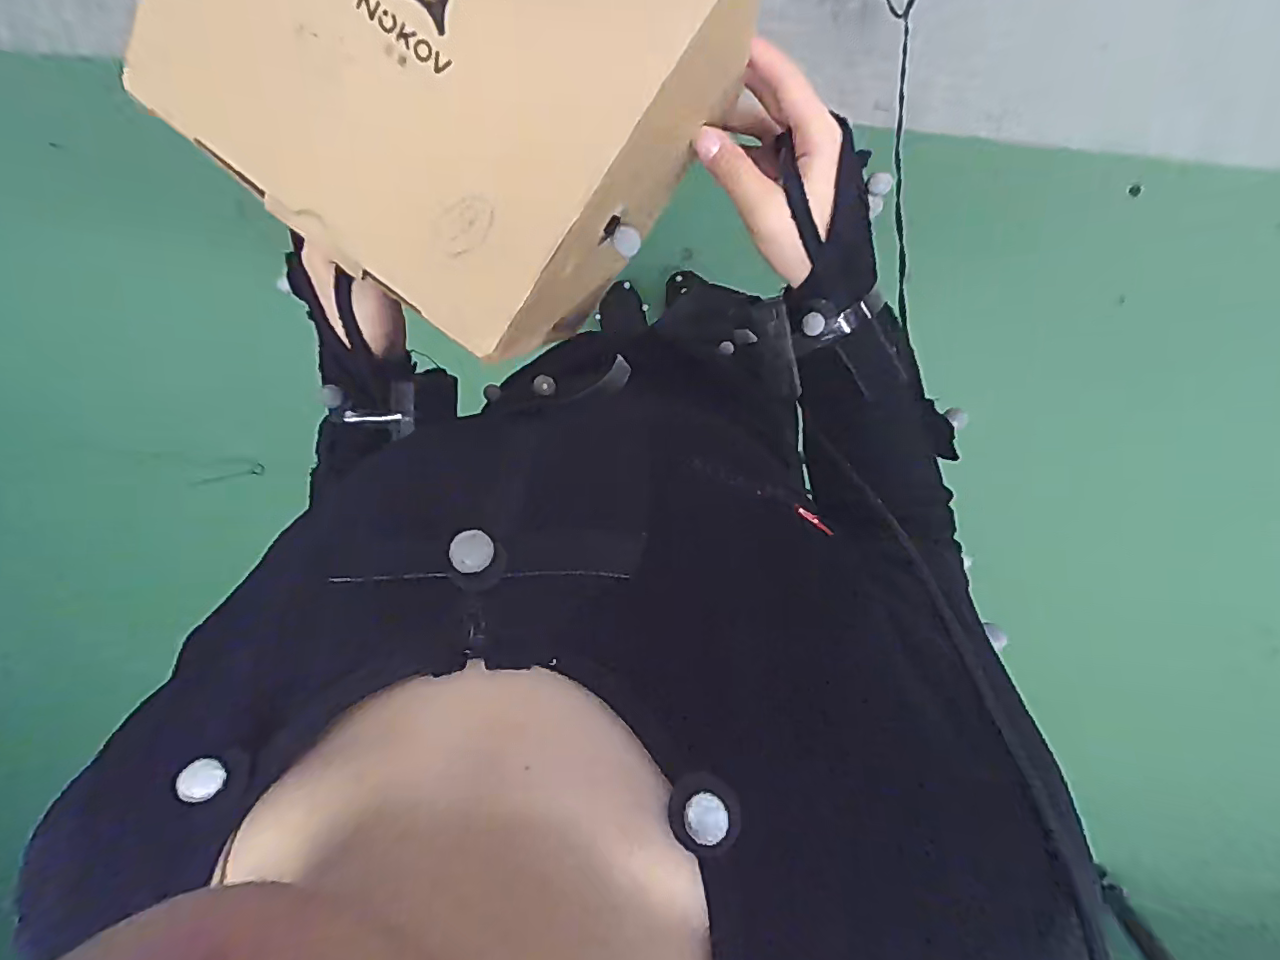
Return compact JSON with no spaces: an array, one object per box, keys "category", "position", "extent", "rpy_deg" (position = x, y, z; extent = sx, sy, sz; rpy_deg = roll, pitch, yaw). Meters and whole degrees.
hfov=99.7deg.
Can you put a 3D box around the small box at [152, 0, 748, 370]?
[{"category":"small box","position":[-0.062,-0.180,0.262],"extent":[0.168,0.176,0.179],"rpy_deg":[38,109,-6]}]
